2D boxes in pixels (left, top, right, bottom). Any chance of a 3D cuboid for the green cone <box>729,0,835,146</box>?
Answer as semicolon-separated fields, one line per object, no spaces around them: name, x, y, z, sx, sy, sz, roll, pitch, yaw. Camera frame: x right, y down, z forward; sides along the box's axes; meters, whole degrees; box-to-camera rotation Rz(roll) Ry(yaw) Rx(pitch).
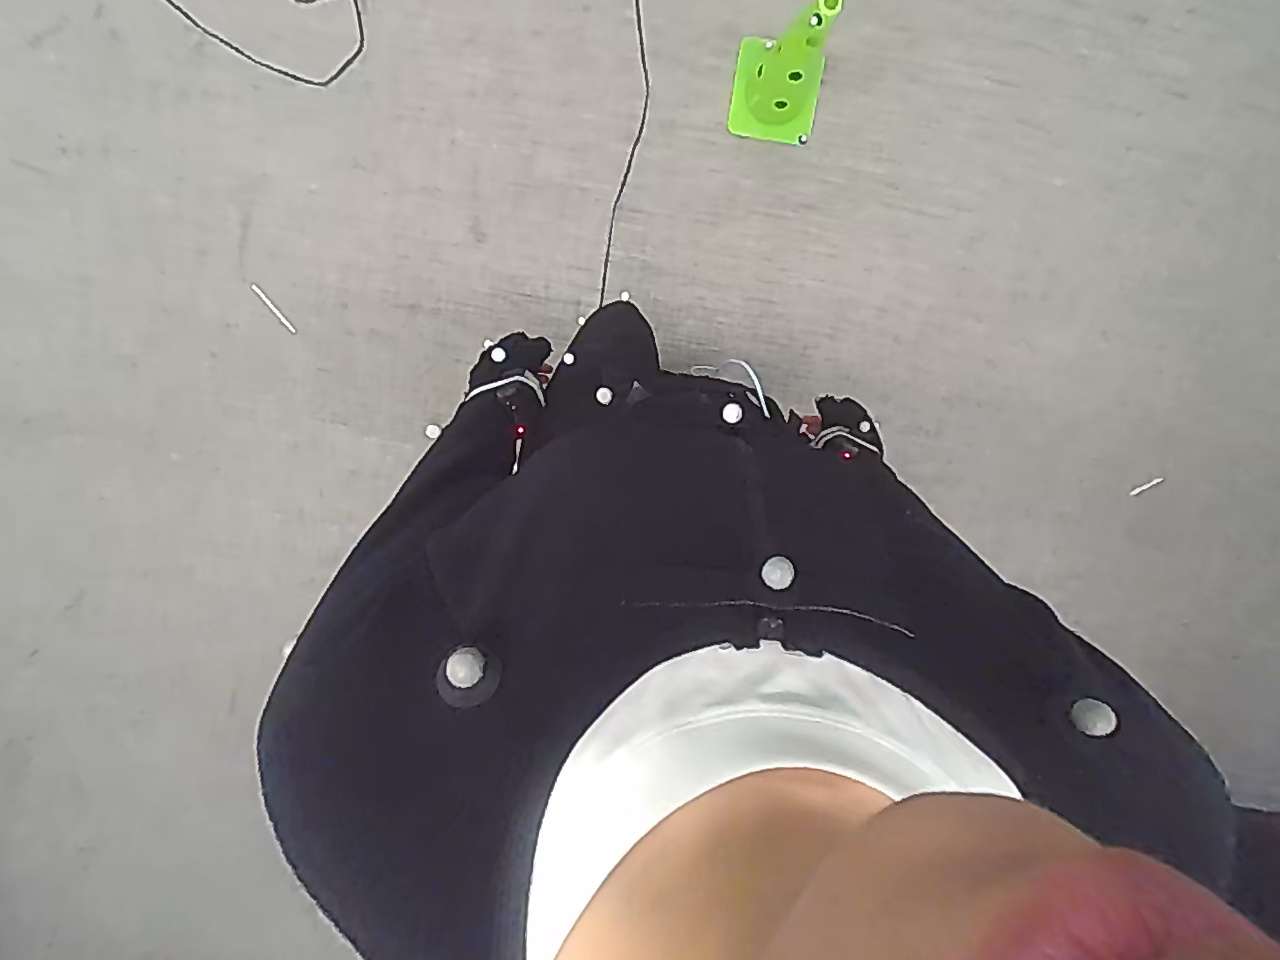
green cone;0.319;-0.863;1.096;0.202;0.368;0.200;7;103;-2
